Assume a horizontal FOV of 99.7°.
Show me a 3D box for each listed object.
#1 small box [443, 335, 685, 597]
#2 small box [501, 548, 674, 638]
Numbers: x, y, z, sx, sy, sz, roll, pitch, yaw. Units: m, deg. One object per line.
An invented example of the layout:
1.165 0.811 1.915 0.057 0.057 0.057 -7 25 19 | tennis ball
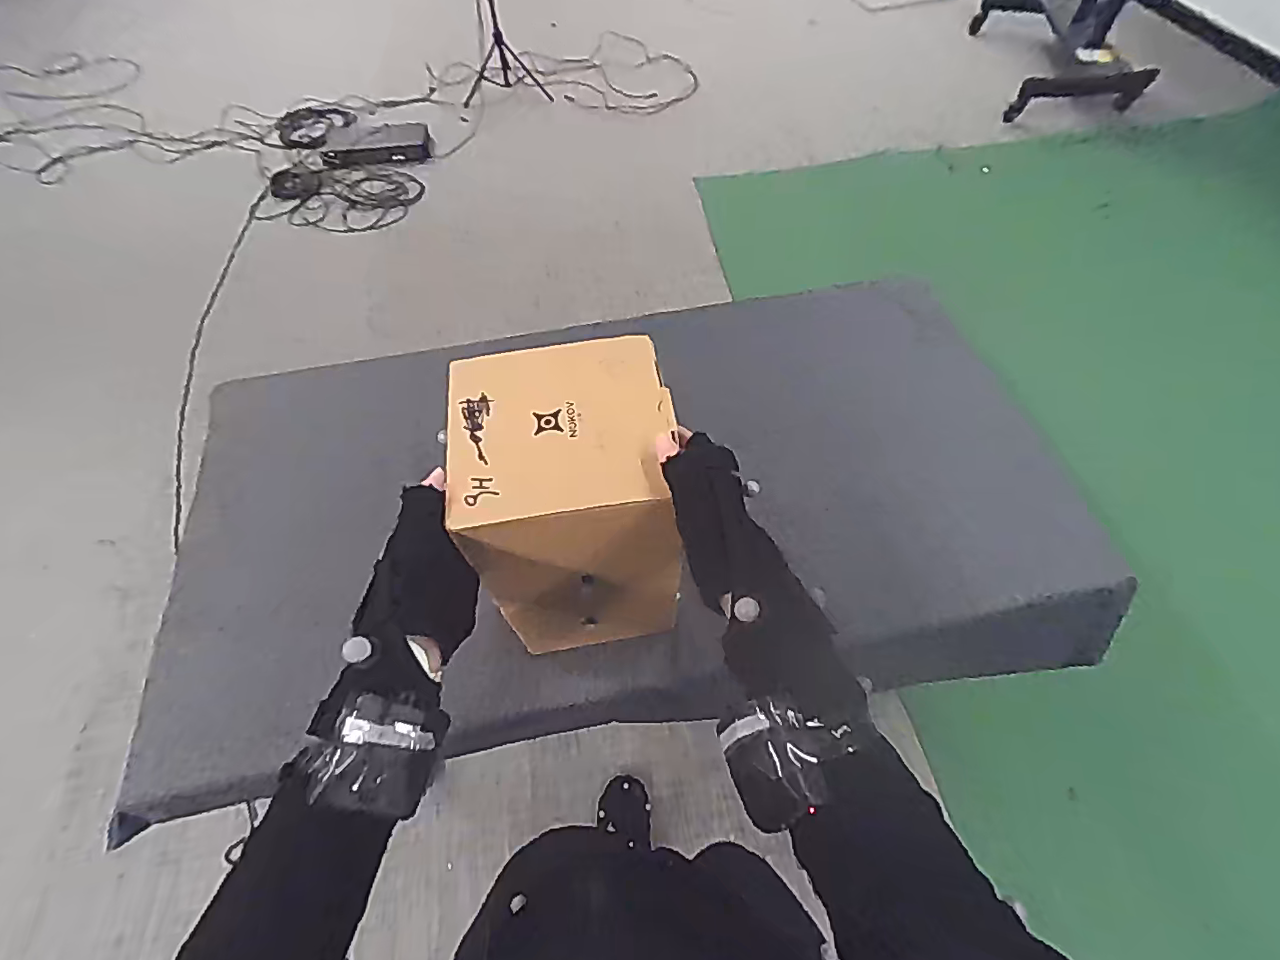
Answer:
-0.064 -0.006 0.494 0.179 0.176 0.168 -7 57 -4 | small box
-0.061 0.075 0.635 0.179 0.176 0.168 -6 57 -3 | small box
